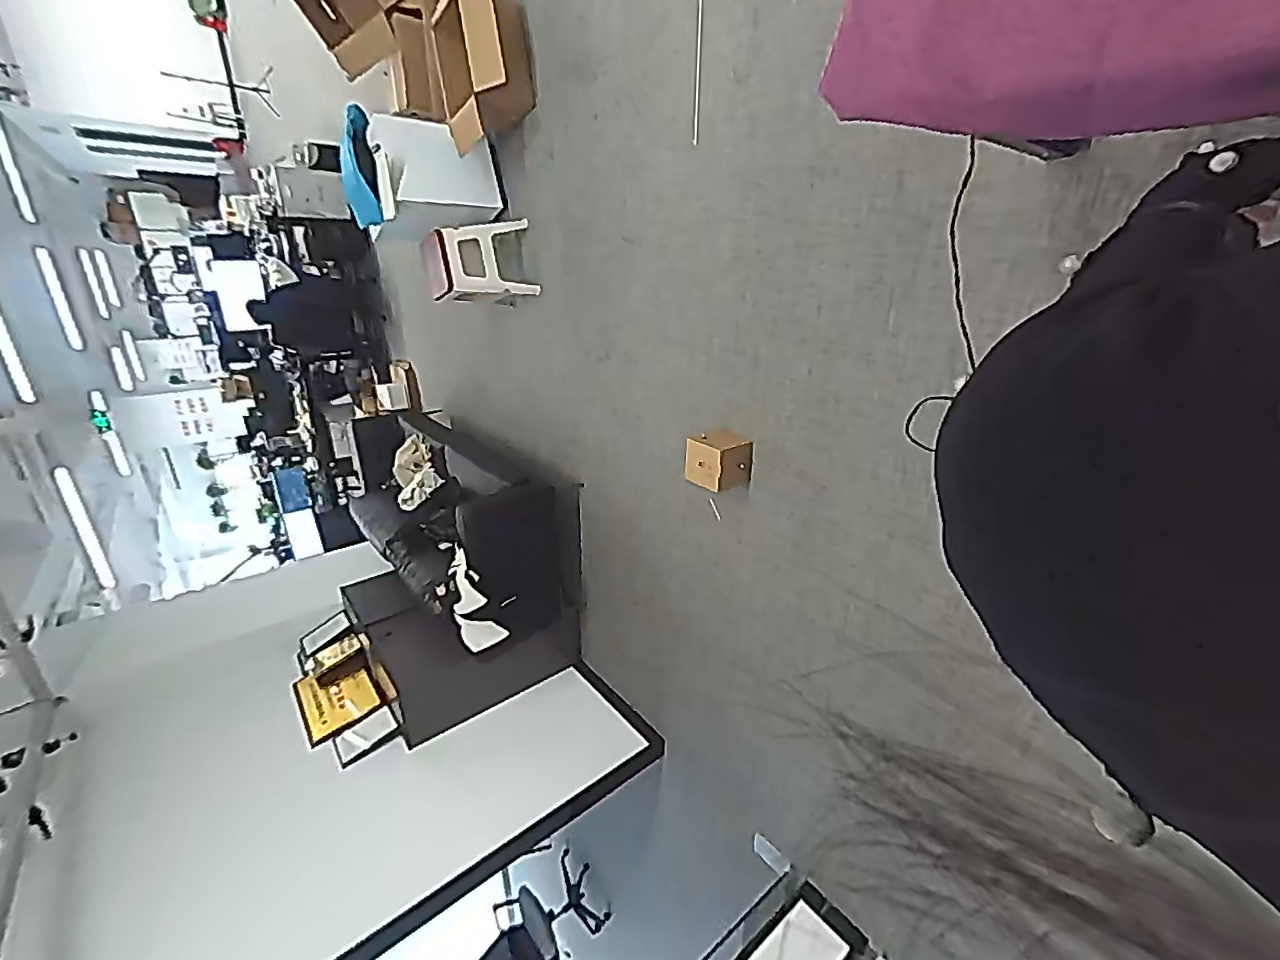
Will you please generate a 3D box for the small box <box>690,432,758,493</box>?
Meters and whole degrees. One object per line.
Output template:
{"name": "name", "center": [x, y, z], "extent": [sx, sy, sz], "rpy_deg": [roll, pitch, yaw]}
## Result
{"name": "small box", "center": [0.310, -0.072, 2.010], "extent": [0.179, 0.176, 0.168], "rpy_deg": [26, 124, 45]}
